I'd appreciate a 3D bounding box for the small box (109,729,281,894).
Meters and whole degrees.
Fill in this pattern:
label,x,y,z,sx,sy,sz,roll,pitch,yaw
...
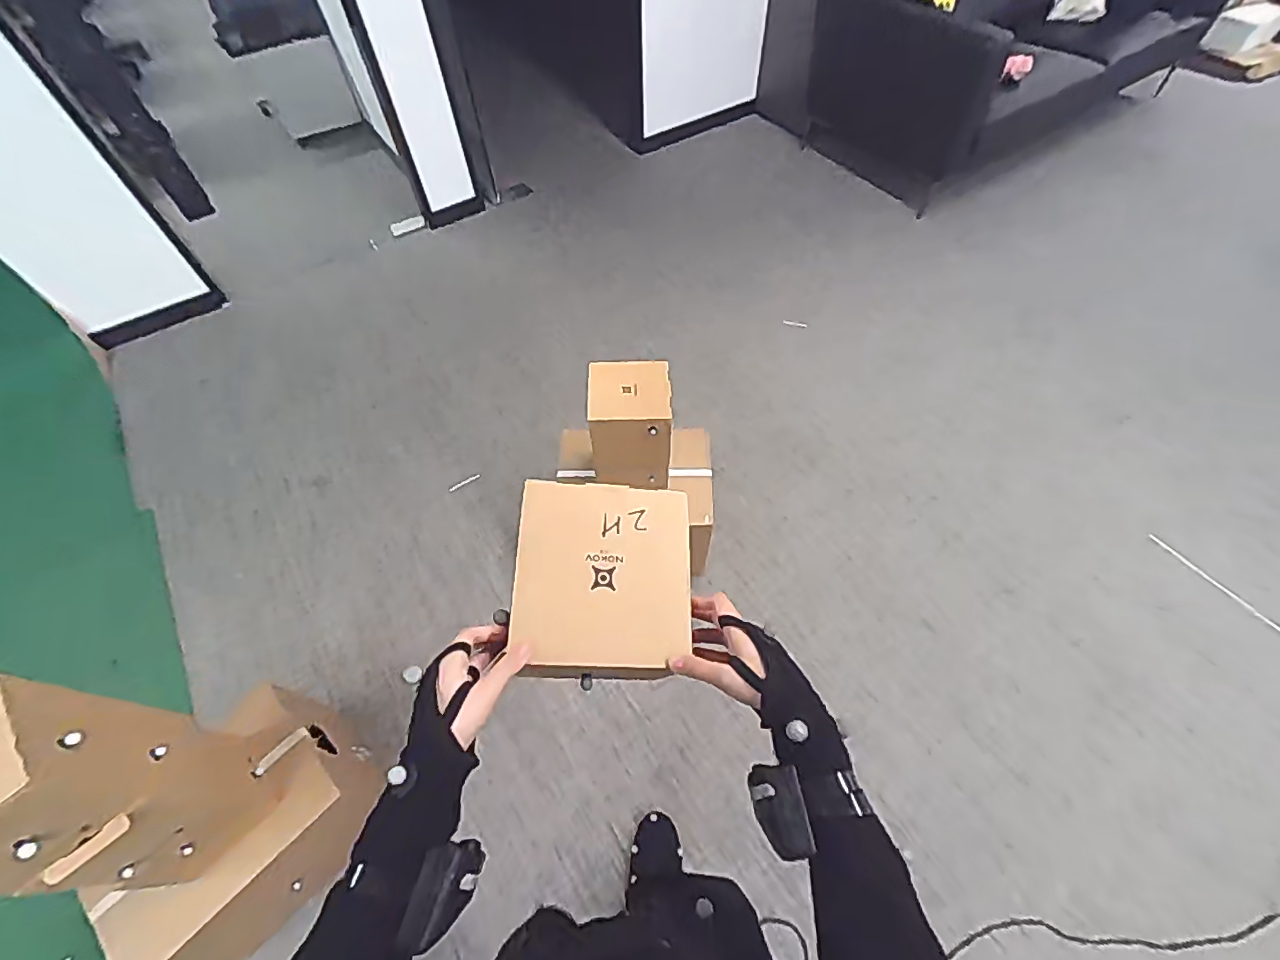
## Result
label,x,y,z,sx,sy,sz,roll,pitch,yaw
small box,-0.786,0.574,0.946,0.179,0.176,0.168,-39,65,-22

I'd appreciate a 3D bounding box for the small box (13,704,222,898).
label,x,y,z,sx,sy,sz,roll,pitch,yaw
small box,-0.785,0.475,0.816,0.168,0.176,0.179,-38,64,-21

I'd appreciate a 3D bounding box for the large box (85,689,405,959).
label,x,y,z,sx,sy,sz,roll,pitch,yaw
large box,-0.797,0.727,1.139,0.320,0.320,0.408,36,66,24

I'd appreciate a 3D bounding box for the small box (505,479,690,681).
label,x,y,z,sx,sy,sz,roll,pitch,yaw
small box,-0.045,0.117,0.579,0.168,0.176,0.179,5,65,-8

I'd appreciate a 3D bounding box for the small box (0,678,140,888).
label,x,y,z,sx,sy,sz,roll,pitch,yaw
small box,-0.794,0.385,0.678,0.168,0.176,0.179,-39,65,-22

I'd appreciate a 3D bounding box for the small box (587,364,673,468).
label,x,y,z,sx,sy,sz,roll,pitch,yaw
small box,-0.020,-0.138,1.201,0.179,0.176,0.168,-1,56,-1
